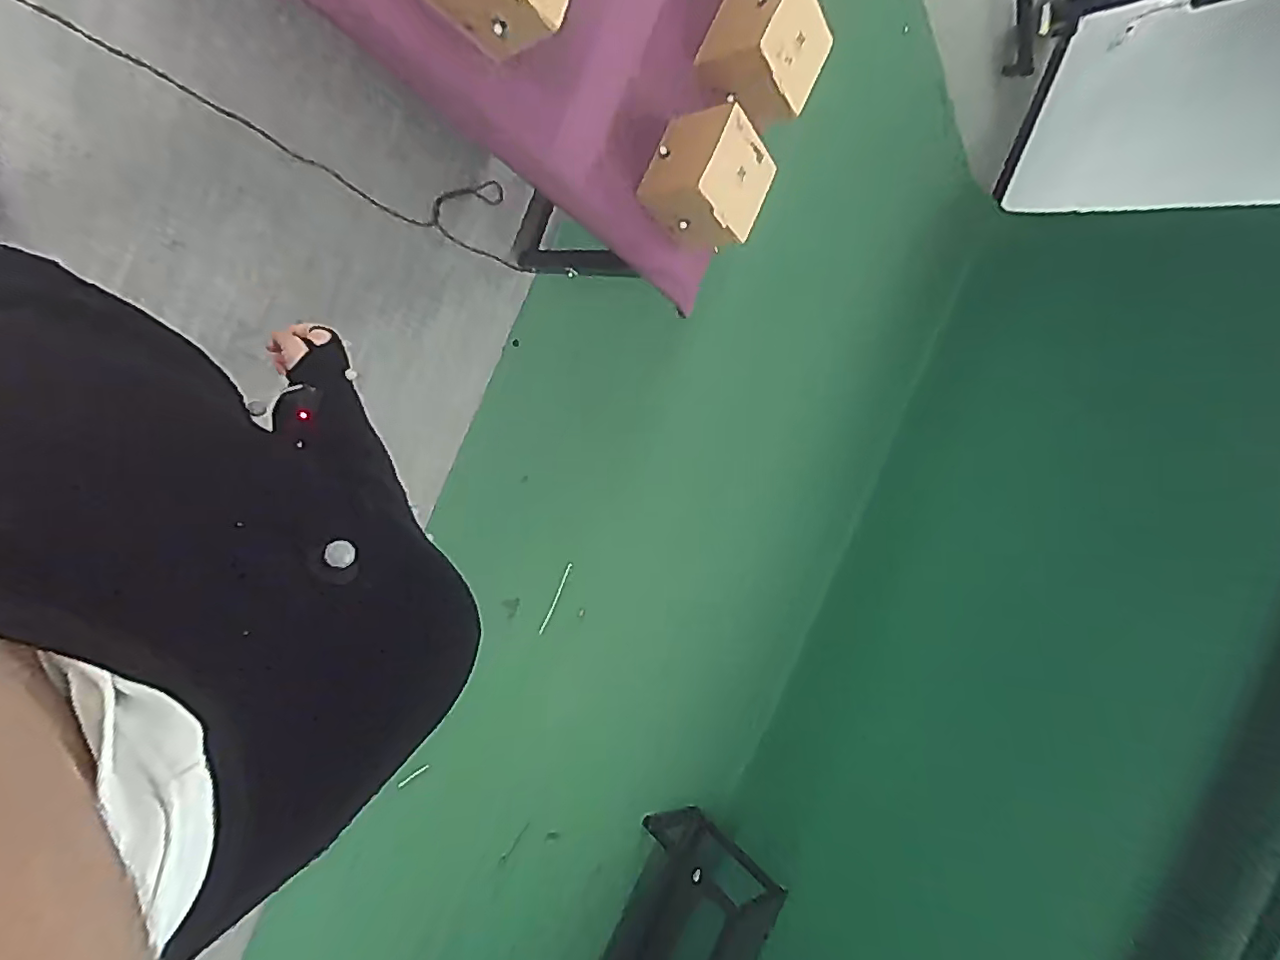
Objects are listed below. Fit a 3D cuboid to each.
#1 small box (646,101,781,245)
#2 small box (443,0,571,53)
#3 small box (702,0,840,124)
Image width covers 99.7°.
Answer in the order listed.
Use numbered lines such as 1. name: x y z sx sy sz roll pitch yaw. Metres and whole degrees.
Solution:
1. small box: 0.136 -0.581 1.050 0.168 0.176 0.179 28 86 -46
2. small box: -0.181 -0.707 0.697 0.168 0.176 0.179 16 95 -47
3. small box: 0.251 -0.833 1.049 0.168 0.176 0.179 28 89 -45
